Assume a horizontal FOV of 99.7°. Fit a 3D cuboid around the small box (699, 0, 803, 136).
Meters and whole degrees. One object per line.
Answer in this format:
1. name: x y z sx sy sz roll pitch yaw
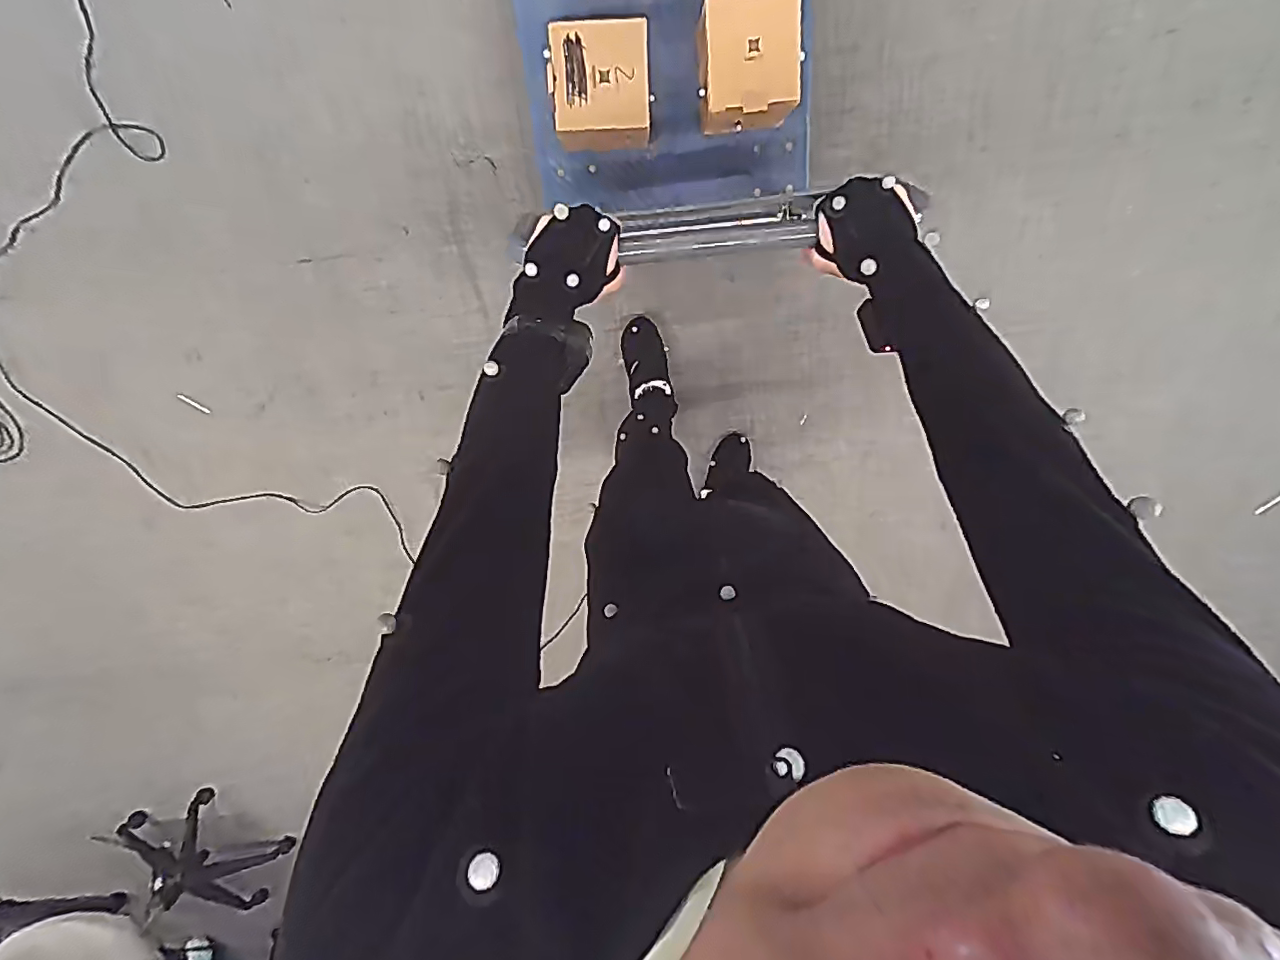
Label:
1. small box: 0.205 -0.785 1.031 0.168 0.176 0.179 -5 111 3
